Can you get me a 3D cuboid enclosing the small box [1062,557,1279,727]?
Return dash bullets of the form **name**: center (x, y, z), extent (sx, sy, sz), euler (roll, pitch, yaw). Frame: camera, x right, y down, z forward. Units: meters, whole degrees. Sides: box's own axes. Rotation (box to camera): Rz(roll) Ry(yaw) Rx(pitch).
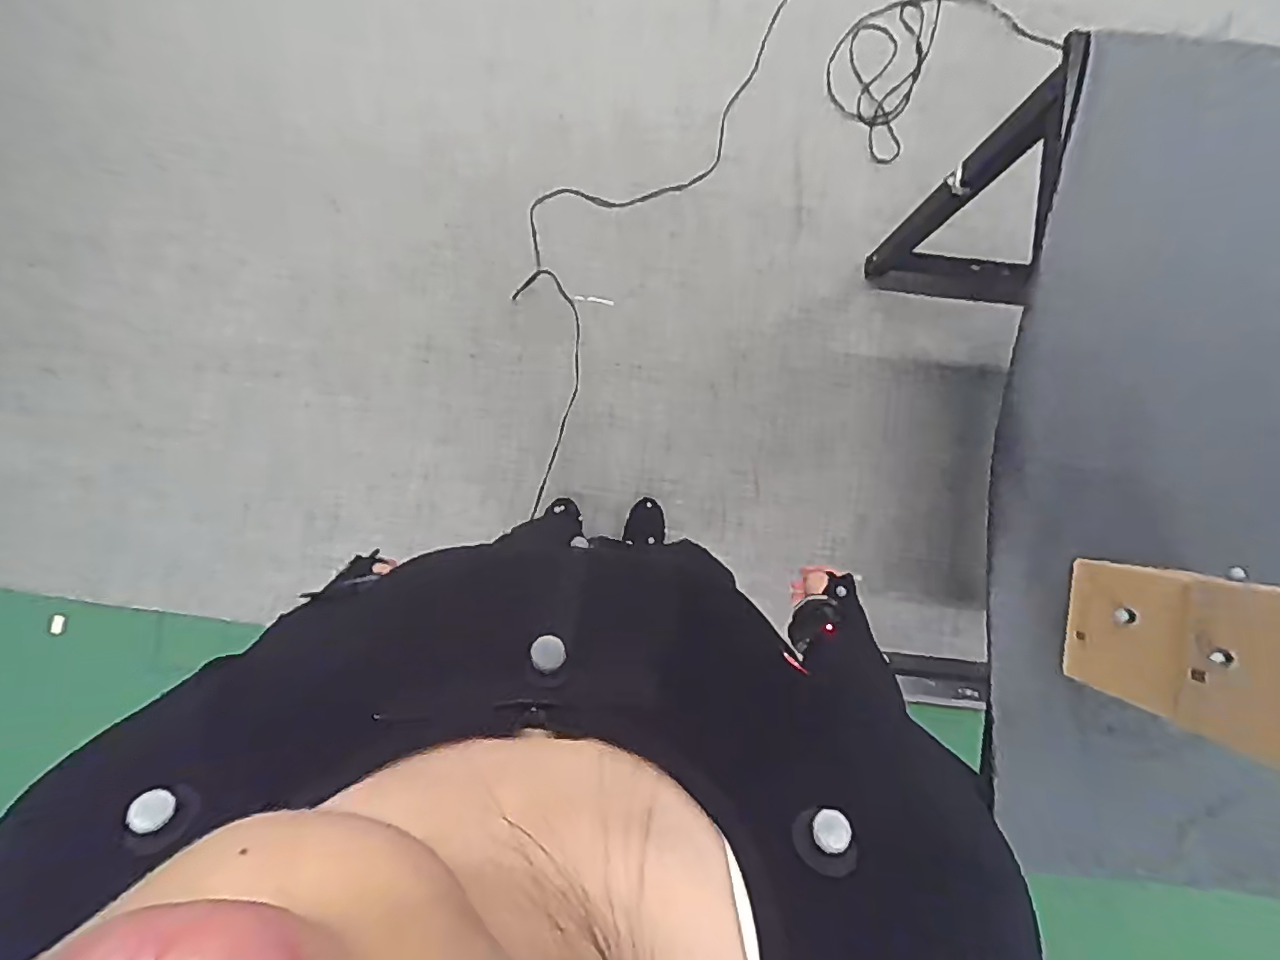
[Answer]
- **small box**: center (0.688, 0.195, 0.688), extent (0.179, 0.176, 0.168), euler (7, 89, -2)
